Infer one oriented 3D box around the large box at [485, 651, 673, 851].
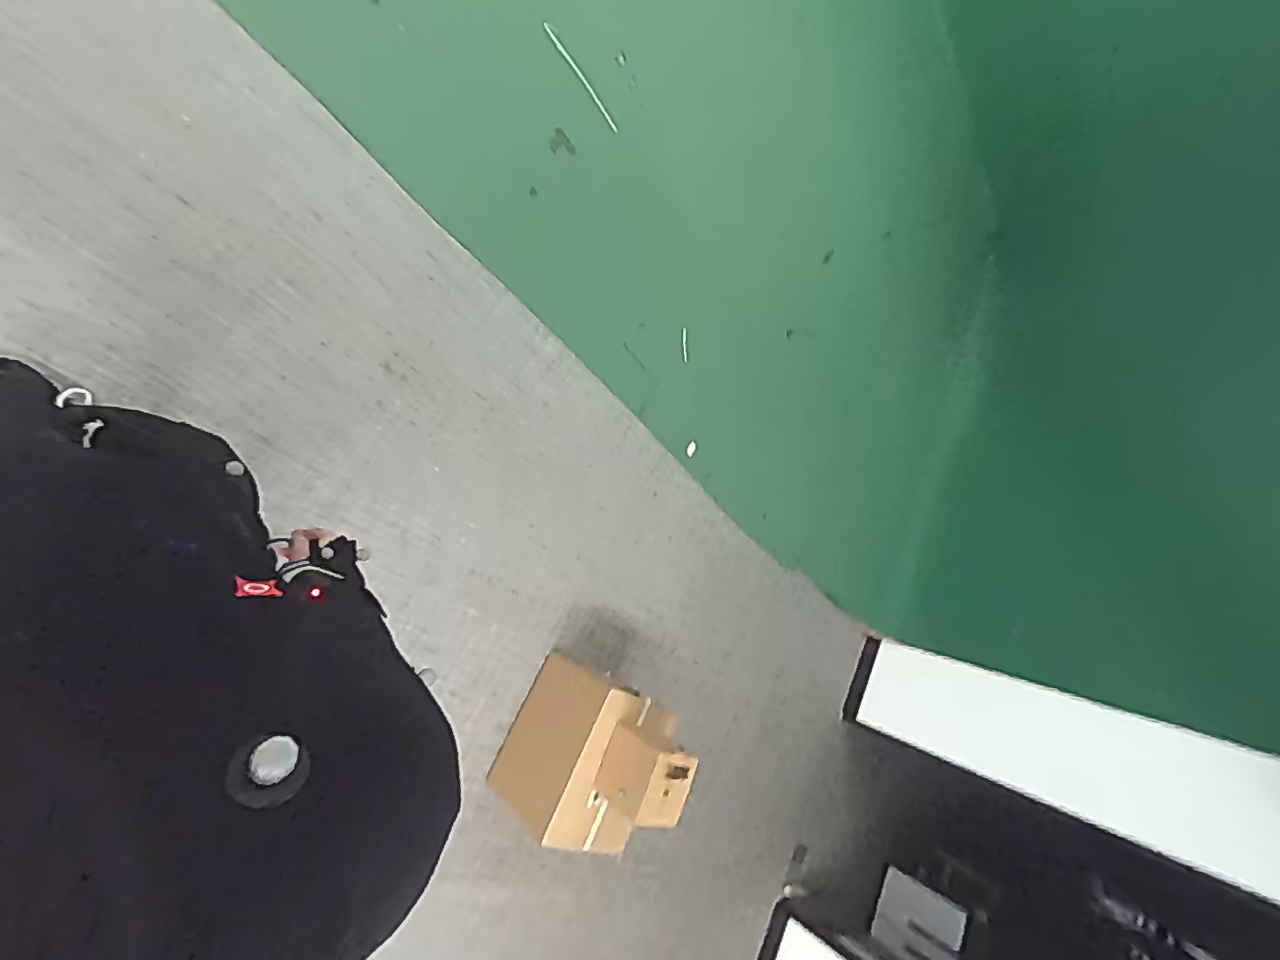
[{"bbox_3d":[-0.175,0.773,1.575,0.320,0.320,0.408,38,71,-37],"label":"large box"}]
